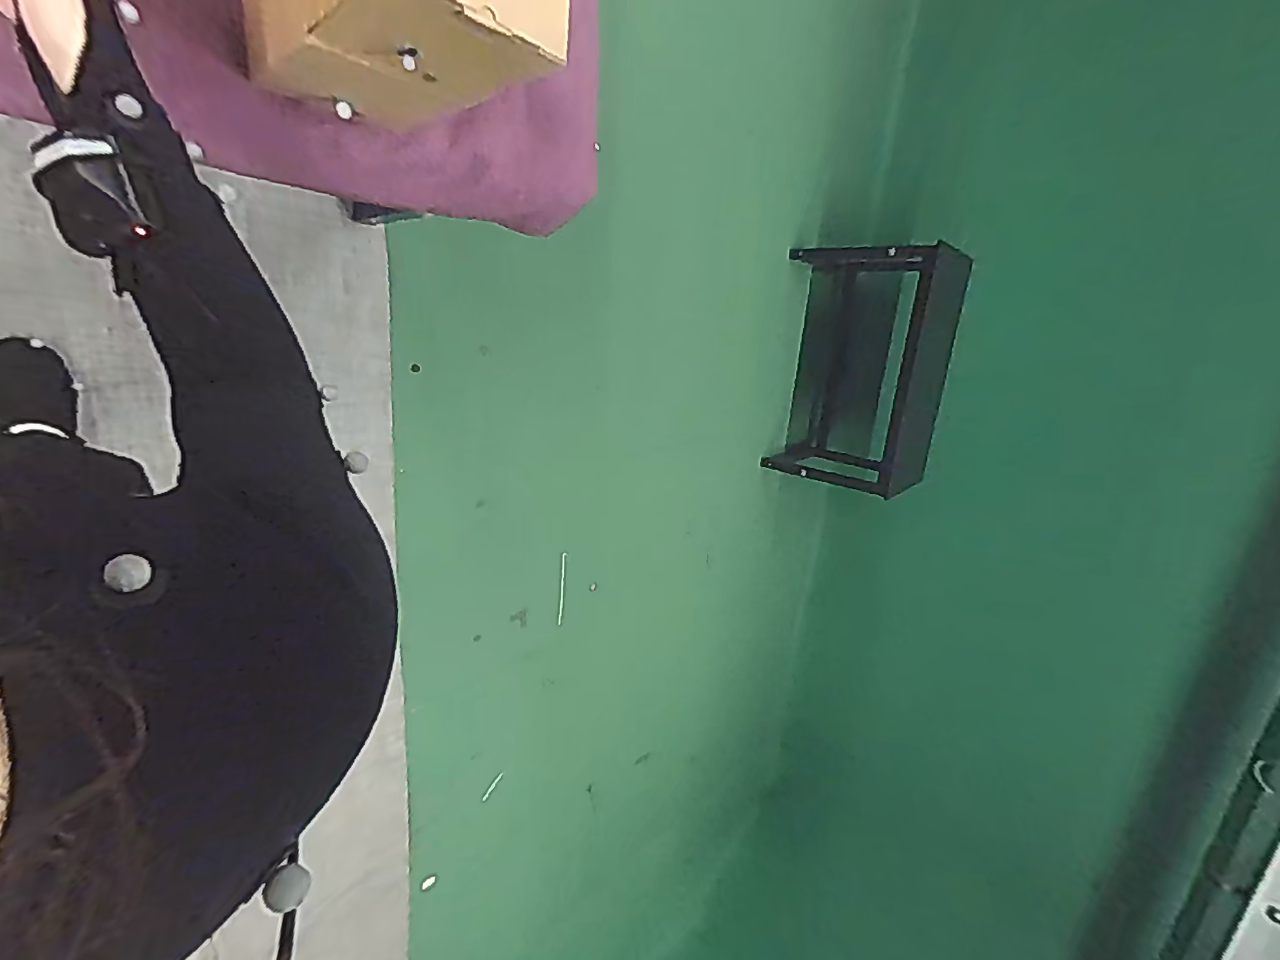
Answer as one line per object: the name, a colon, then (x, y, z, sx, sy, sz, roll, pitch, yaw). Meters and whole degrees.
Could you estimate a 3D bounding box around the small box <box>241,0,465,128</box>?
small box: (-0.299, -0.502, 0.564, 0.168, 0.176, 0.179, -12, 113, -47)

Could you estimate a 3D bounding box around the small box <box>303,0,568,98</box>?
small box: (-0.176, -0.469, 0.463, 0.168, 0.176, 0.179, -13, 113, -47)
